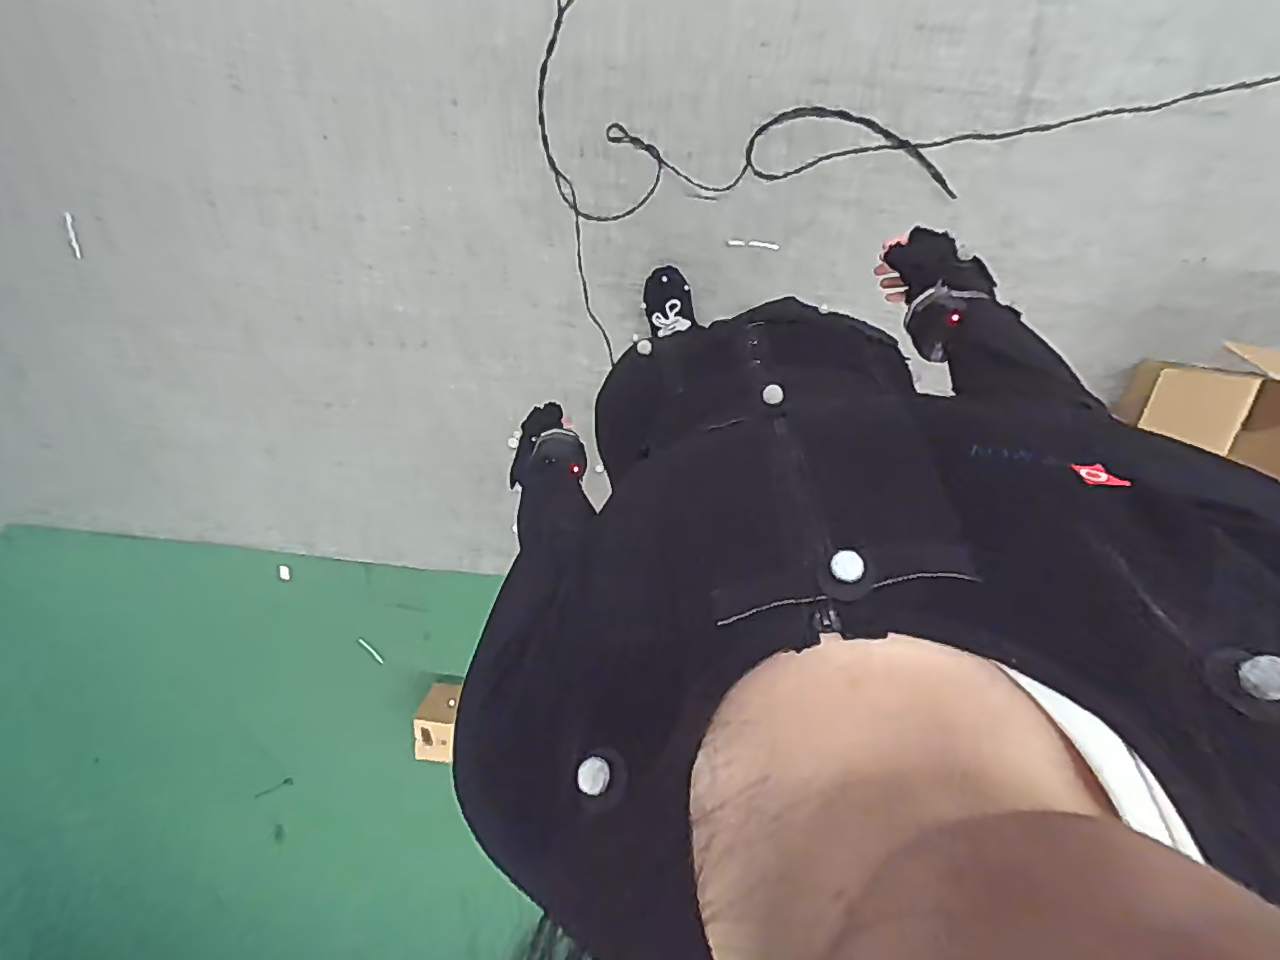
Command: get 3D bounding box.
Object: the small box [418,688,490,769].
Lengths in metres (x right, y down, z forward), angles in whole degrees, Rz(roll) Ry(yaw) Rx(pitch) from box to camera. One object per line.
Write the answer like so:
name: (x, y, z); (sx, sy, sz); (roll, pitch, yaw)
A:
small box: (-0.609, 0.811, 1.778); (0.179, 0.176, 0.168); (7, 111, 1)
